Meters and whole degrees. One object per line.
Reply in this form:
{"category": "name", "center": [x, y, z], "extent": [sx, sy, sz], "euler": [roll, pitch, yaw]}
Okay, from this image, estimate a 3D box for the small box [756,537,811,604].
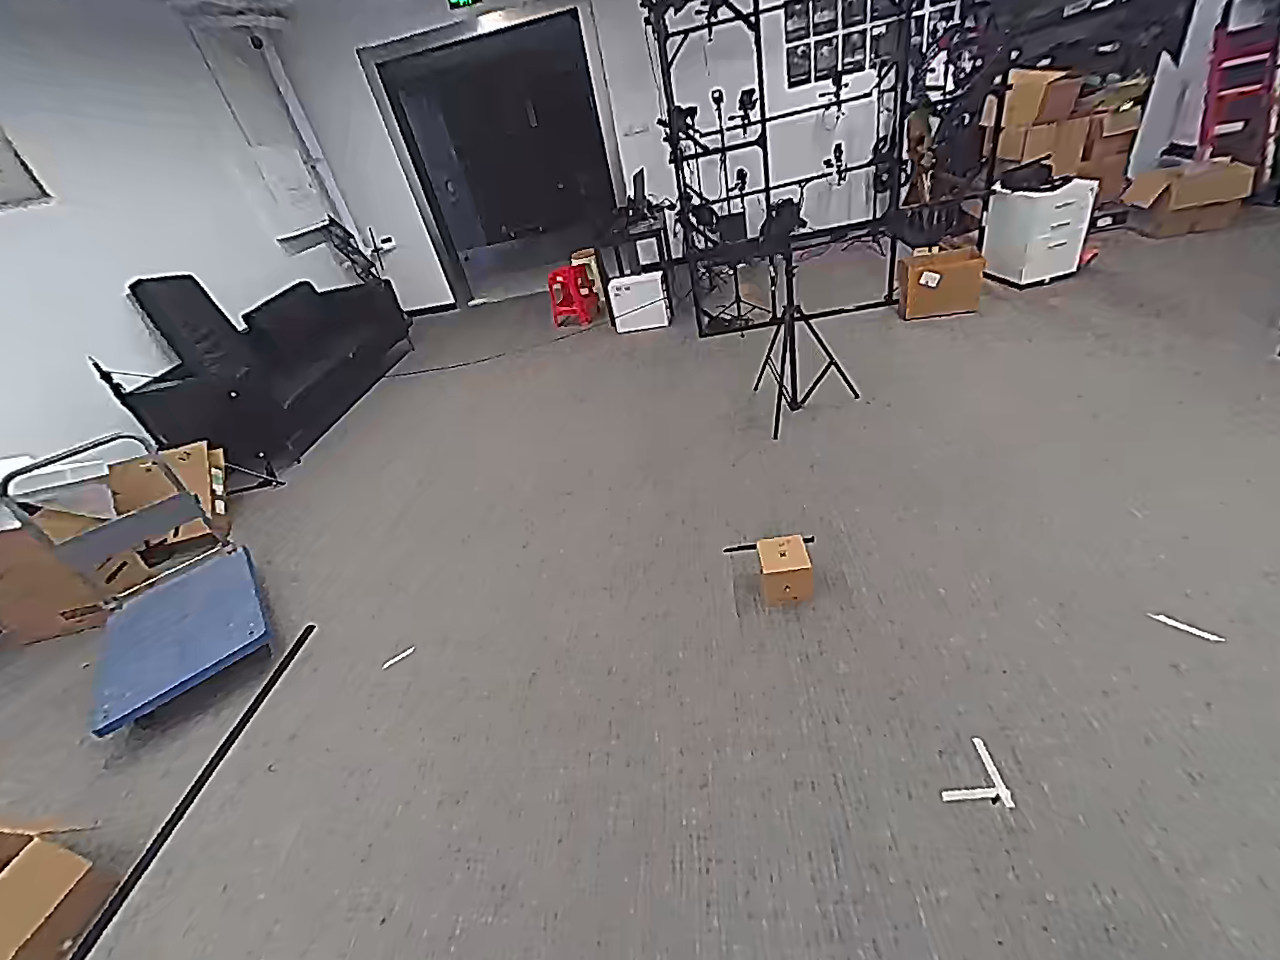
{"category": "small box", "center": [0.523, 0.334, 1.968], "extent": [0.168, 0.176, 0.179], "euler": [-8, 33, 8]}
